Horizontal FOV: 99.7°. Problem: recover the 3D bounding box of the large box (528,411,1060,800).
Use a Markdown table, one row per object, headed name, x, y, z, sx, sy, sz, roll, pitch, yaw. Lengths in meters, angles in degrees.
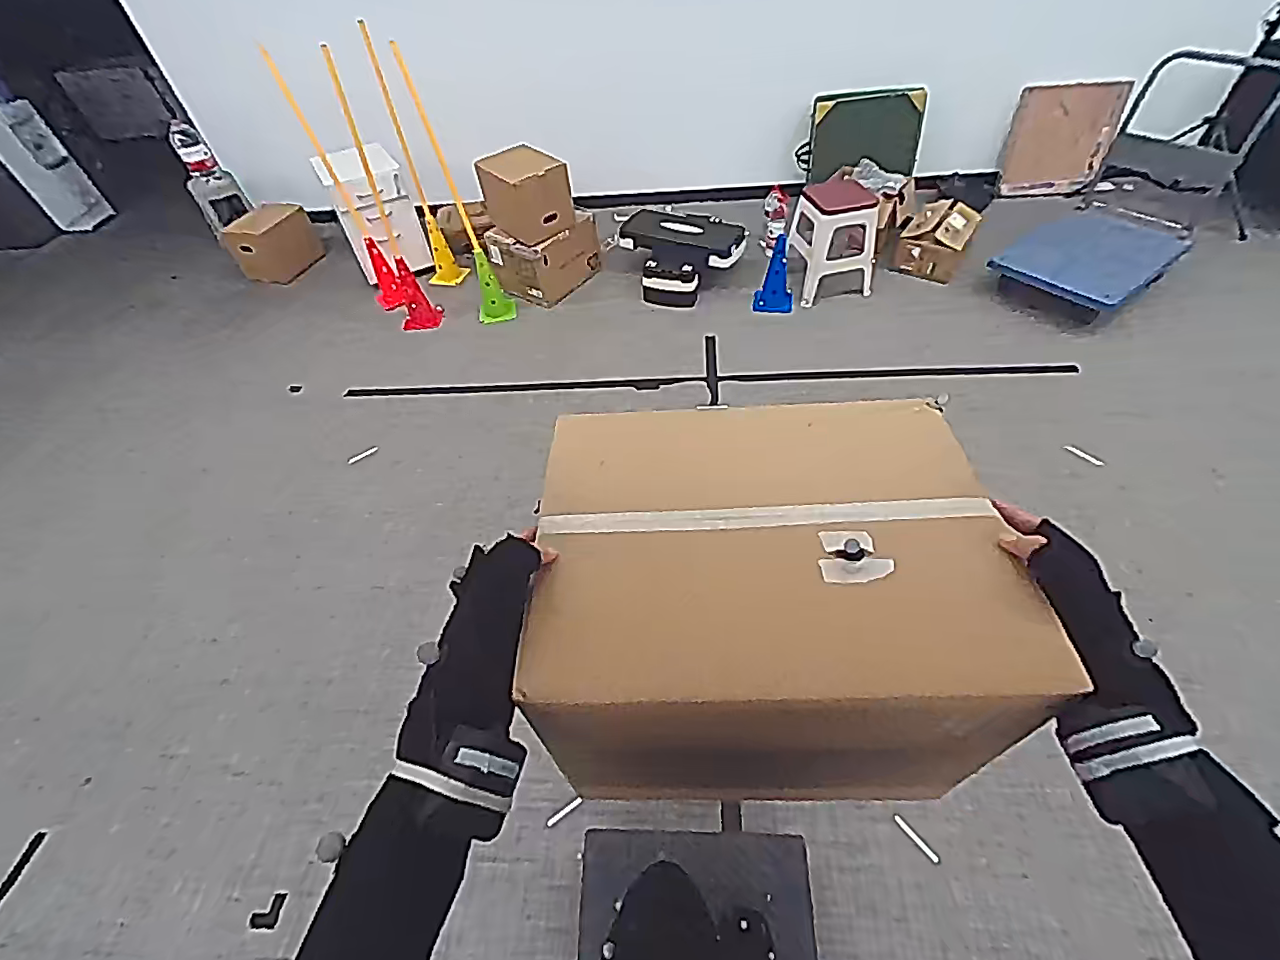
| name | x | y | z | sx | sy | sz | roll | pitch | yaw |
| --- | --- | --- | --- | --- | --- | --- | --- | --- | --- |
| large box | 0.118 | 0.146 | 0.609 | 0.408 | 0.320 | 0.320 | -2 | 48 | 3 |
